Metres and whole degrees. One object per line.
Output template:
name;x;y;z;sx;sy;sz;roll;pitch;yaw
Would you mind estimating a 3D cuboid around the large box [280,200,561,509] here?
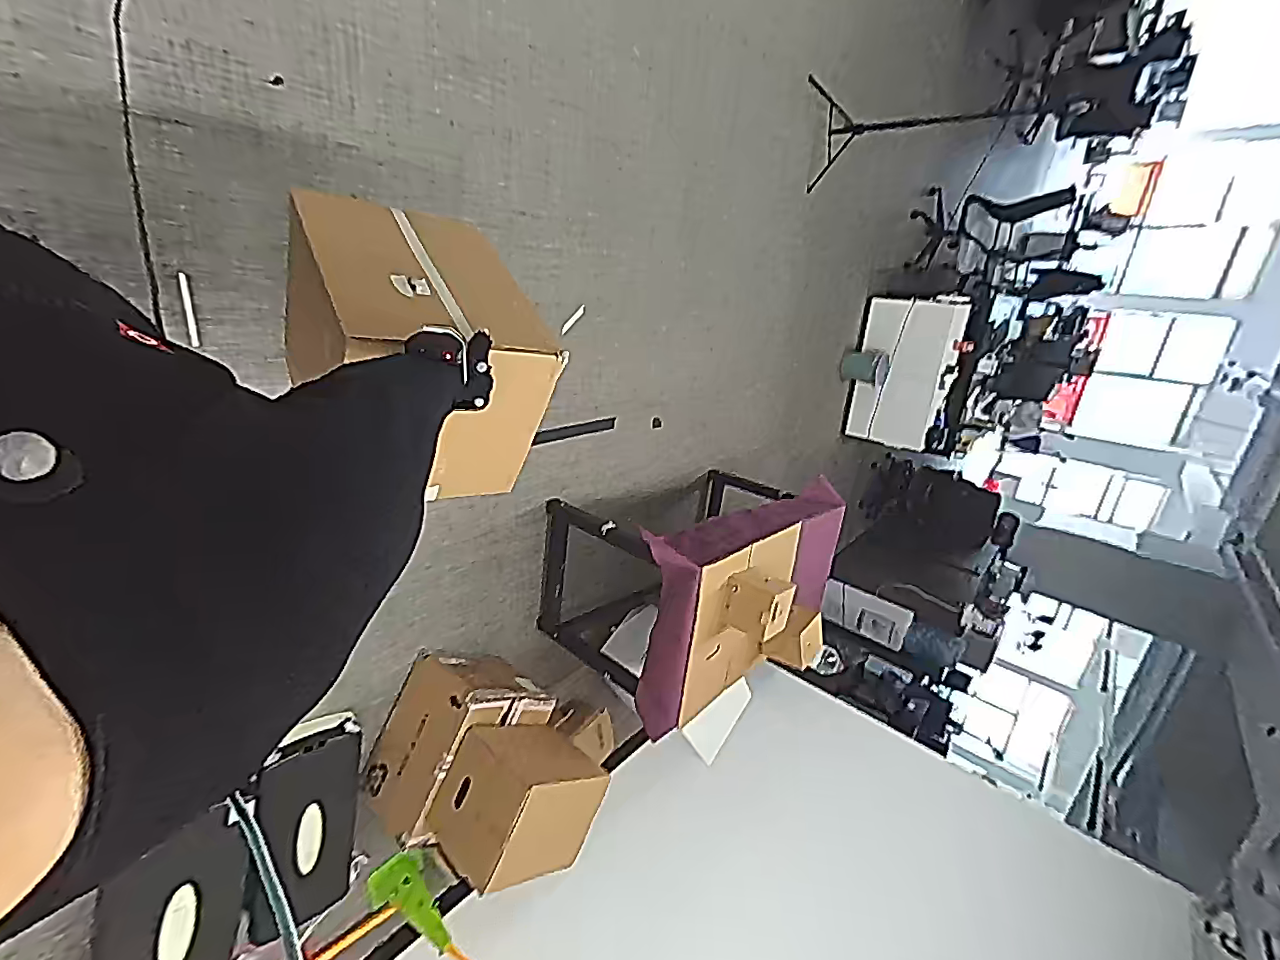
large box;-0.404;-0.208;0.942;0.320;0.408;0.320;-6;141;-41
